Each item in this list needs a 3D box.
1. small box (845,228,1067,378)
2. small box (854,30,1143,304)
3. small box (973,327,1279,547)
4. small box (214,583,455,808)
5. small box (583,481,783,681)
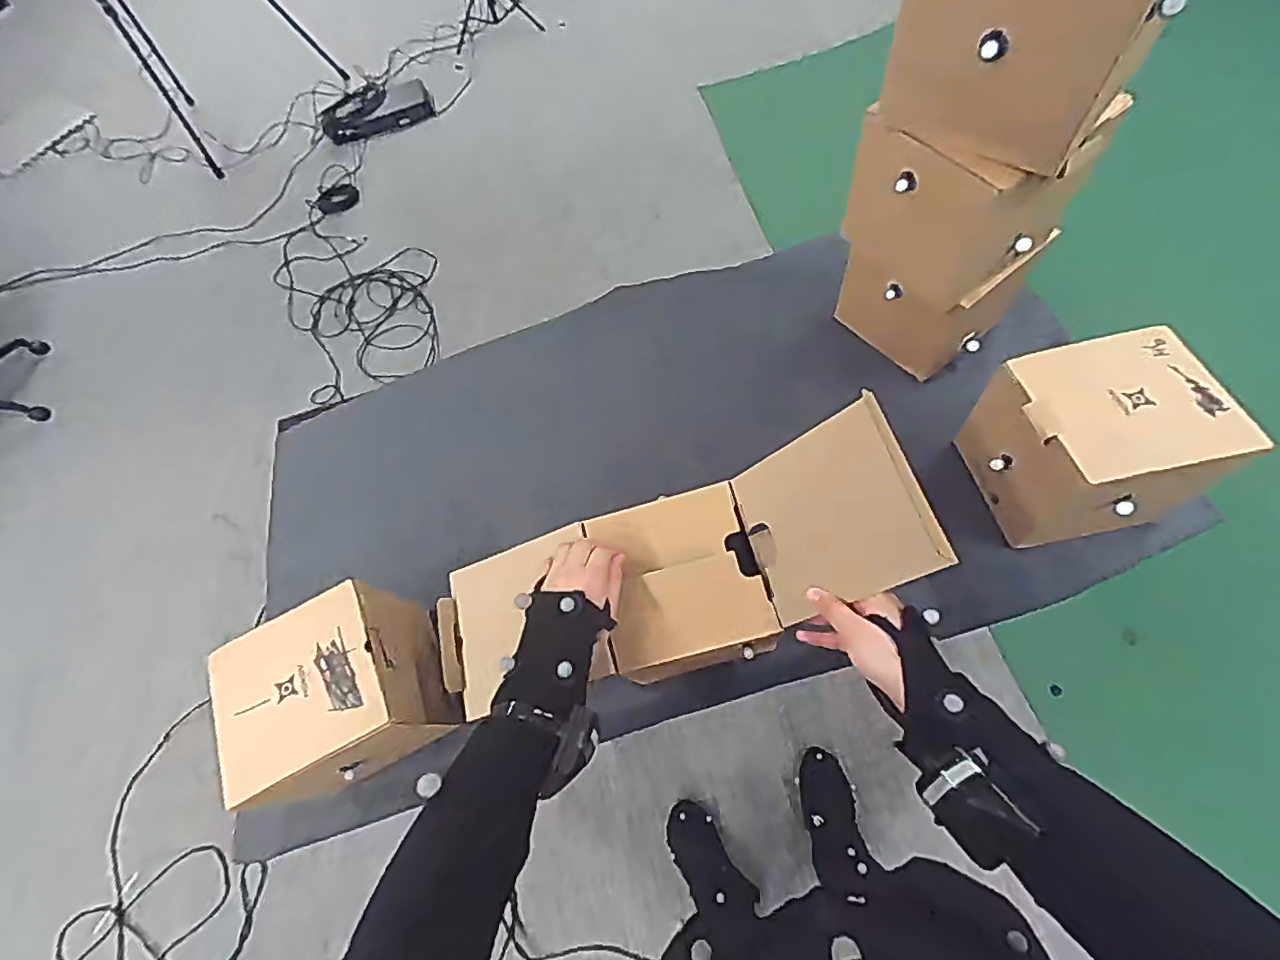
[{"bbox_3d":[0.411,-0.275,0.745,0.168,0.176,0.179,-37,67,-6],"label":"small box"},{"bbox_3d":[0.365,-0.334,0.597,0.168,0.176,0.179,-35,65,-3],"label":"small box"},{"bbox_3d":[0.512,-0.038,0.614,0.179,0.176,0.168,-12,60,5],"label":"small box"},{"bbox_3d":[-0.339,0.245,0.630,0.179,0.176,0.168,-27,65,-3],"label":"small box"},{"bbox_3d":[0.051,0.126,0.622,0.179,0.176,0.168,-16,65,3],"label":"small box"}]
